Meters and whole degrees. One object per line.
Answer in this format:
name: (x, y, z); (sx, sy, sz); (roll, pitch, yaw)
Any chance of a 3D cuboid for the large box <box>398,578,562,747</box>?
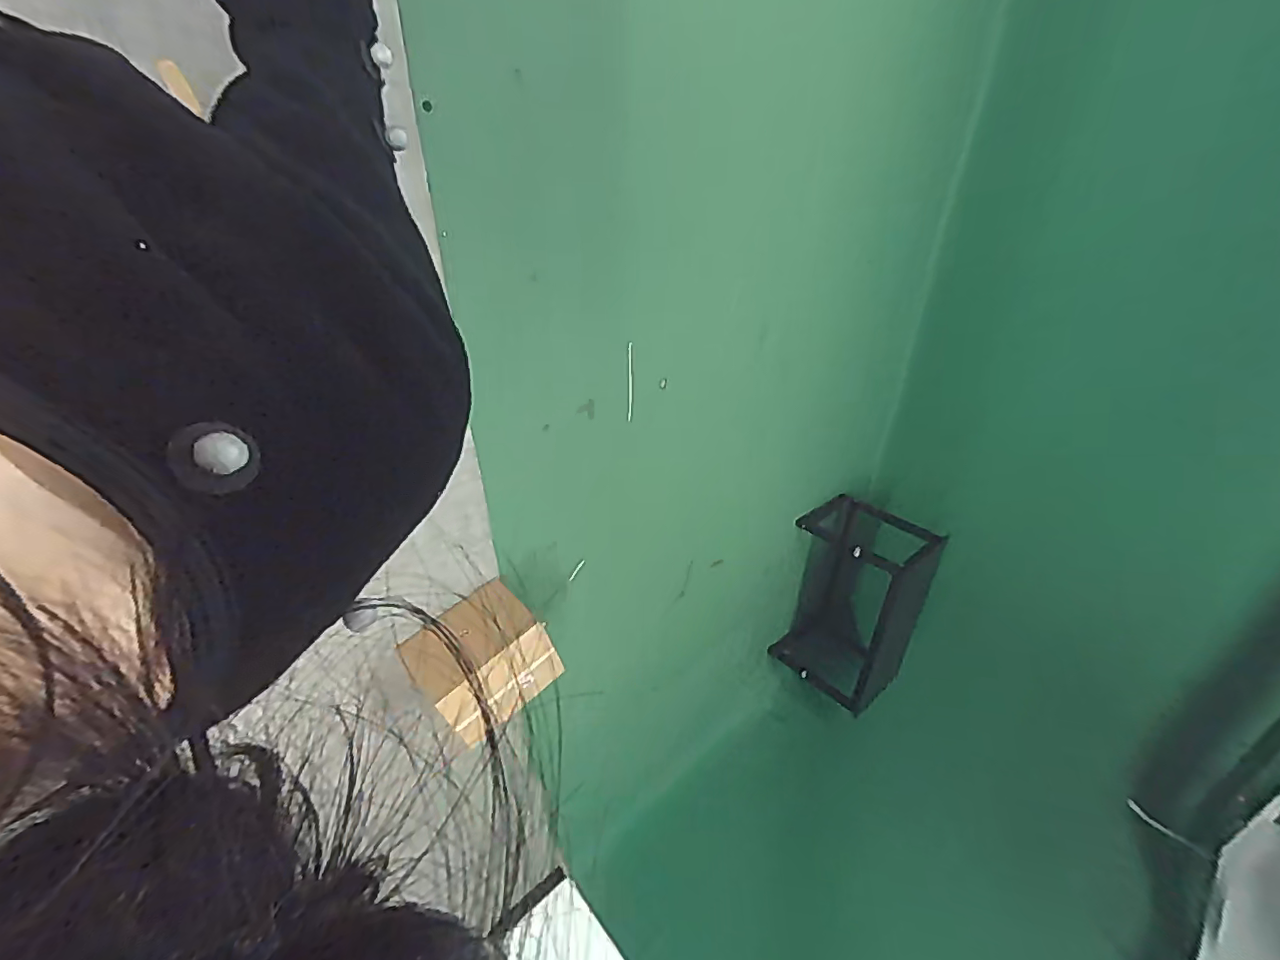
large box: (-0.556, 0.631, 1.913); (0.408, 0.320, 0.320); (-37, 135, -26)
